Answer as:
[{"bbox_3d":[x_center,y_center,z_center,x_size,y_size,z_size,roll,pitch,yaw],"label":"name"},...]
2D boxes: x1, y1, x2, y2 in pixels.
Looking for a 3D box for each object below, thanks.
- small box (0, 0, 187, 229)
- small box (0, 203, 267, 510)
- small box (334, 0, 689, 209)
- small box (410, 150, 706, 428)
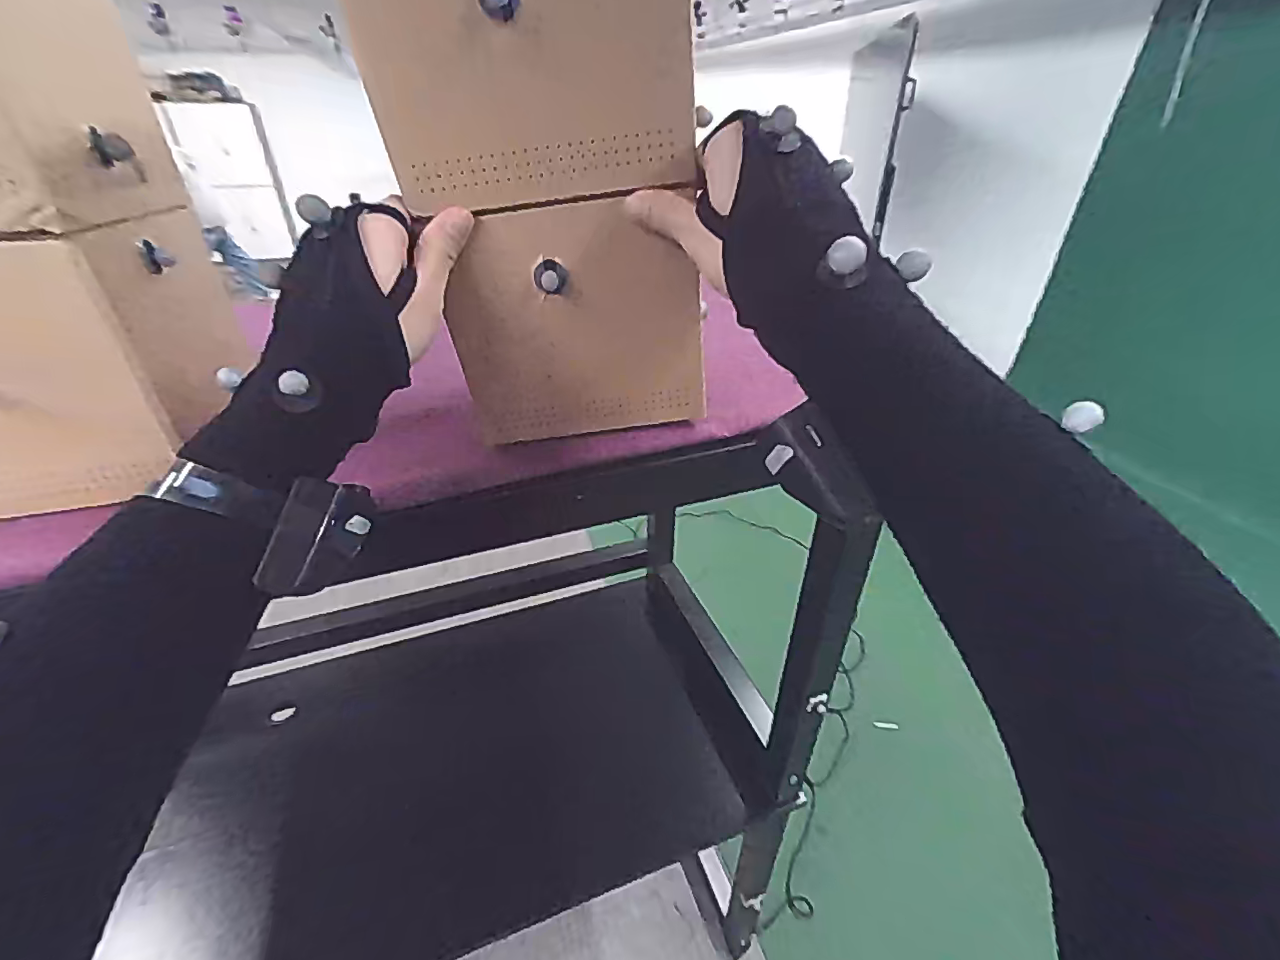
[{"bbox_3d":[-0.409,-0.231,0.292,0.179,0.176,0.168,-8,33,-13],"label":"small box"},{"bbox_3d":[-0.409,-0.092,0.380,0.179,0.176,0.168,-11,34,-14],"label":"small box"},{"bbox_3d":[-0.066,-0.281,0.328,0.179,0.176,0.168,-8,39,2],"label":"small box"},{"bbox_3d":[-0.048,-0.155,0.432,0.179,0.176,0.168,-7,39,2],"label":"small box"}]
